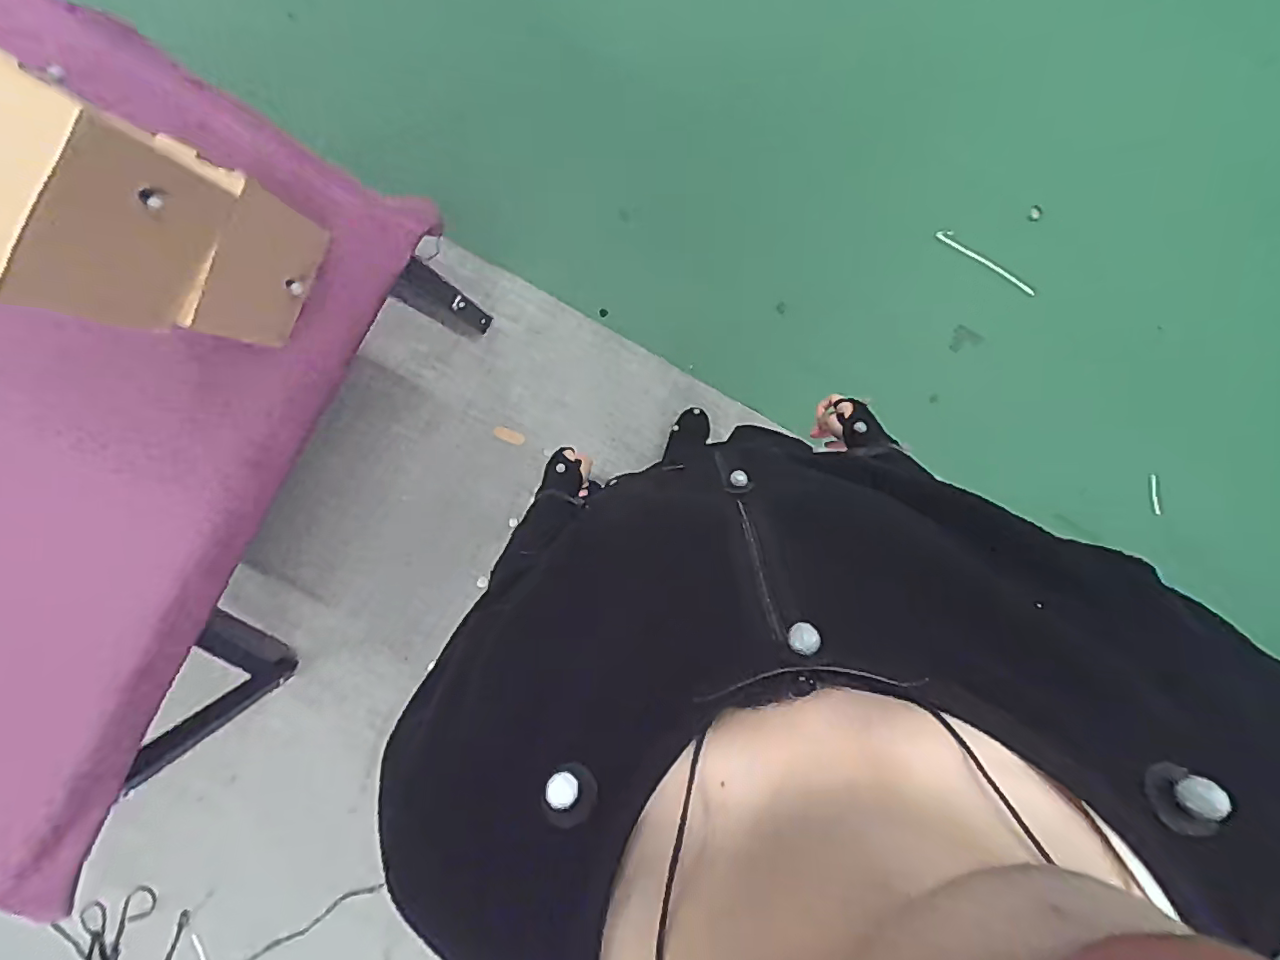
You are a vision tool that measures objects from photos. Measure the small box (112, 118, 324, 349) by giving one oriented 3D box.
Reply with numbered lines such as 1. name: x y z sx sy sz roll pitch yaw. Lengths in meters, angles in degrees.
1. small box: -0.533 -0.285 0.669 0.168 0.176 0.179 26 94 -2

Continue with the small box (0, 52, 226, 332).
1. small box: -0.546 -0.265 0.507 0.168 0.176 0.179 32 95 -3
